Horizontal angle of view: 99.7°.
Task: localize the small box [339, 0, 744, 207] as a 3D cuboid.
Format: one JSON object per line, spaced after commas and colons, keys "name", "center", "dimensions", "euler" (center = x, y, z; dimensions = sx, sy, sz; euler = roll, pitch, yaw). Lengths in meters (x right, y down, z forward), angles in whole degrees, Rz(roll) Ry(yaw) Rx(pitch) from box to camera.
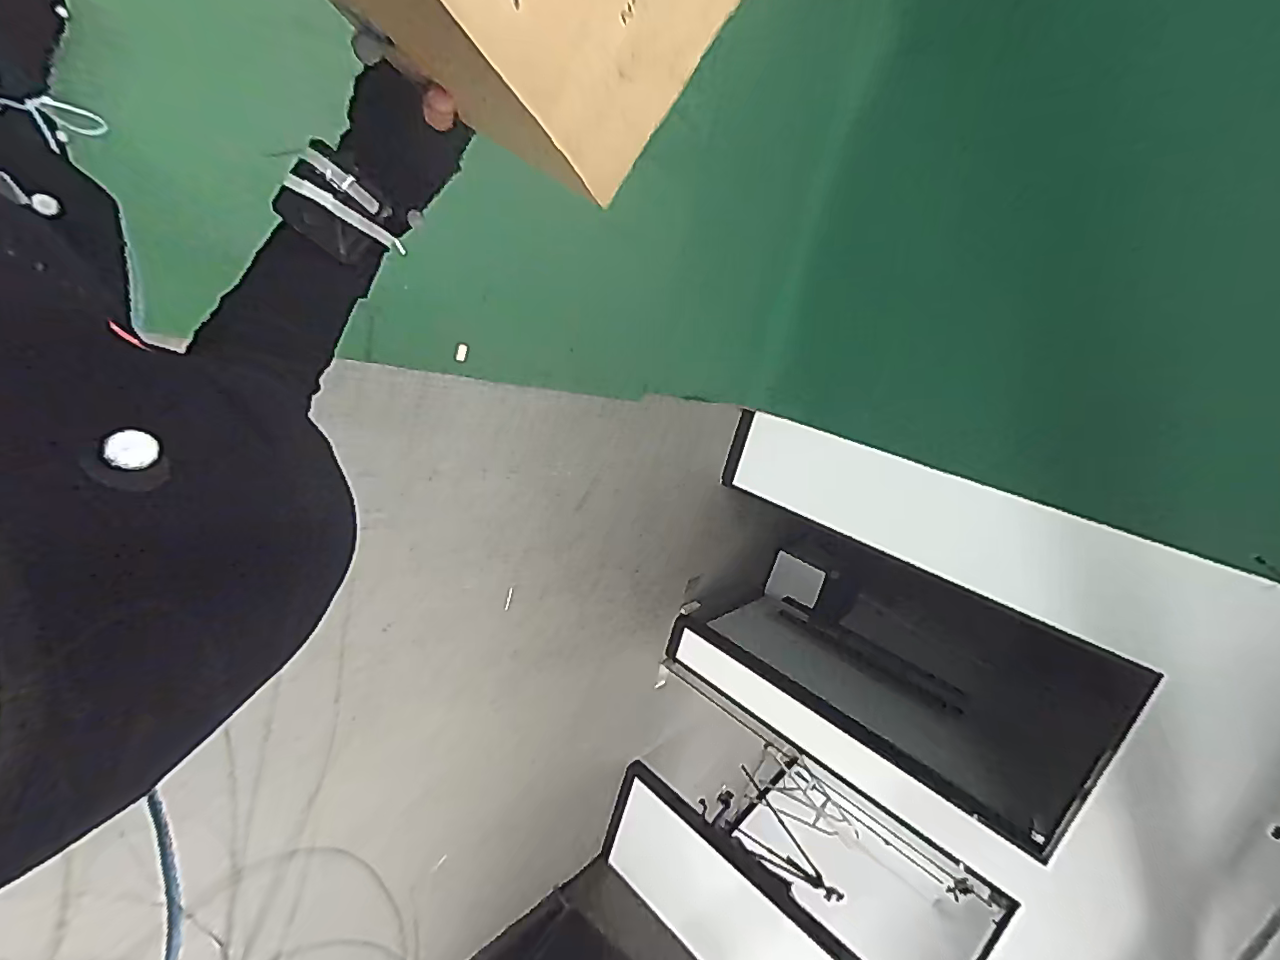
{"name": "small box", "center": [-0.061, -0.288, 0.273], "dimensions": [0.168, 0.176, 0.179], "euler": [-54, 167, 10]}
